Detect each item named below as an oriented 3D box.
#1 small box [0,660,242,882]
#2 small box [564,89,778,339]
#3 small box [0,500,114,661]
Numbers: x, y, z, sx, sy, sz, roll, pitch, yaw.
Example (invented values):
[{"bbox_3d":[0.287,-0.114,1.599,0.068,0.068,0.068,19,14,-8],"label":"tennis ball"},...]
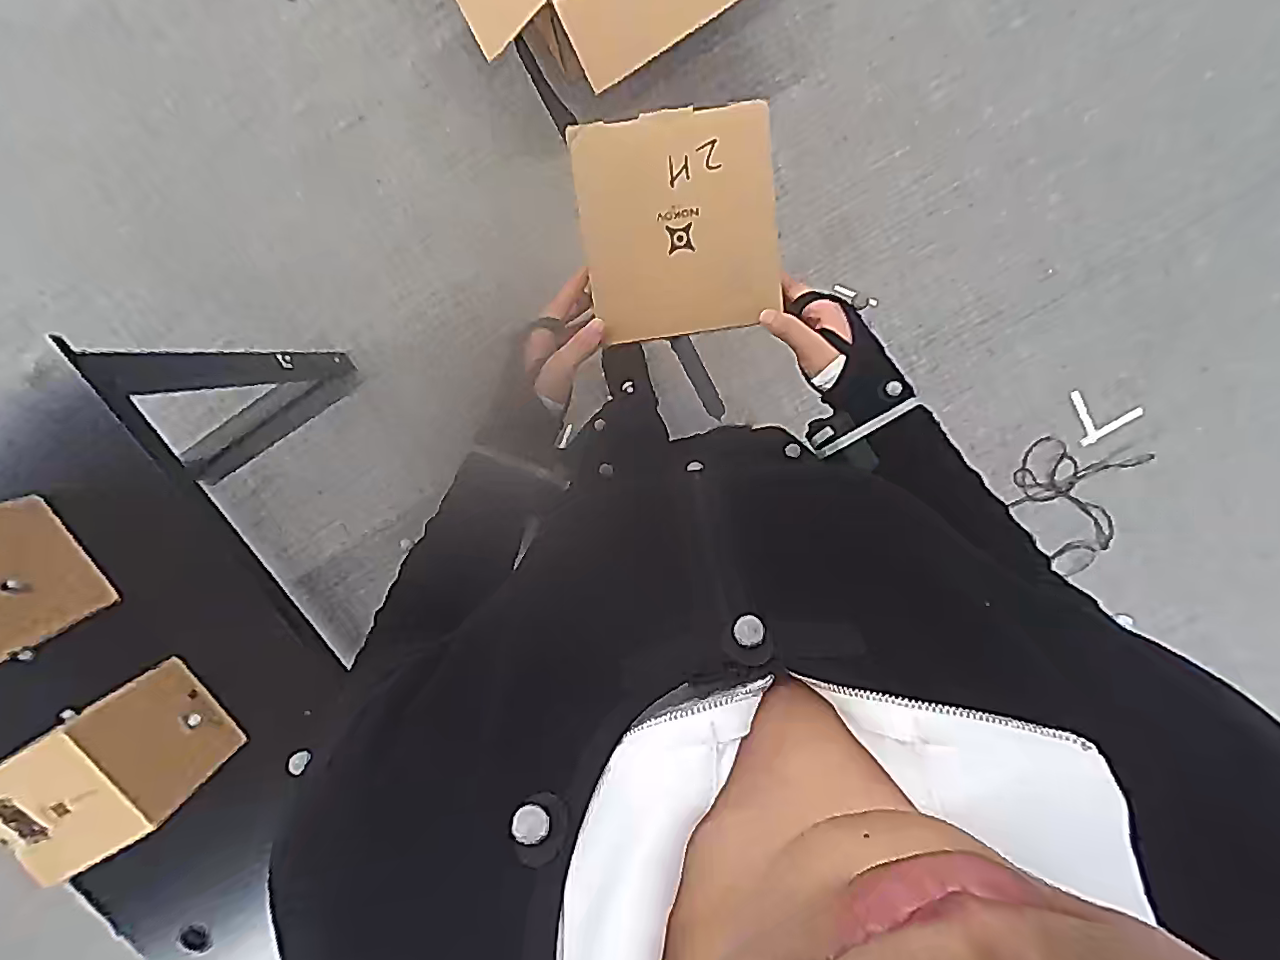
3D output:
[{"bbox_3d":[-0.714,0.387,0.745,0.179,0.176,0.168,-30,102,6],"label":"small box"},{"bbox_3d":[0.028,-0.238,0.527,0.168,0.176,0.179,-8,104,-1],"label":"small box"},{"bbox_3d":[-0.854,0.150,0.689,0.168,0.176,0.179,-27,103,6],"label":"small box"}]
